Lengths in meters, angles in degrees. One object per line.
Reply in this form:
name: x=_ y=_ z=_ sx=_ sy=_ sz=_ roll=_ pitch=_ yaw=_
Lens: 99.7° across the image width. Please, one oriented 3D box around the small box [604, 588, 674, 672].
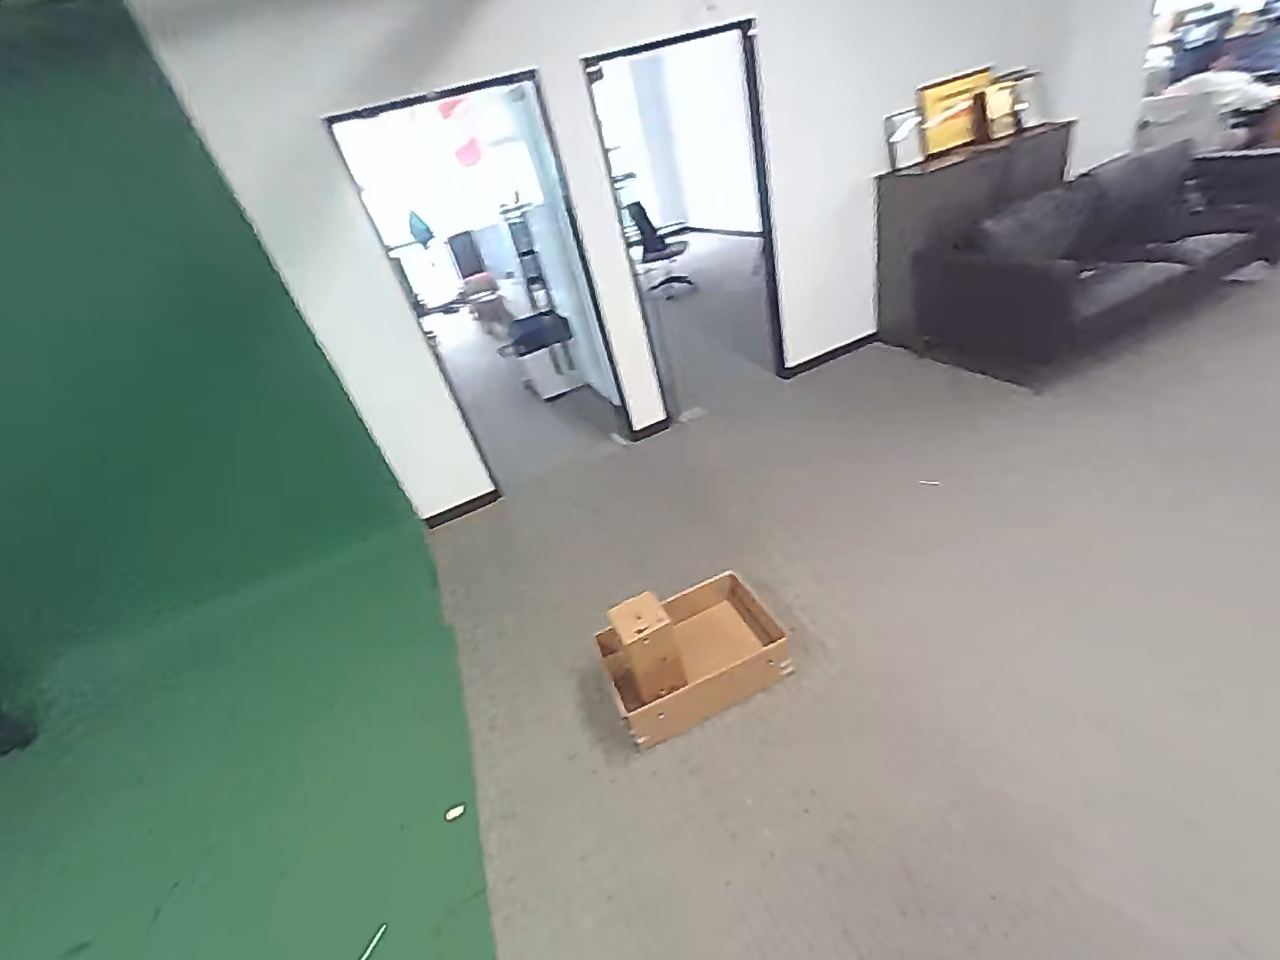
small box: x=-0.003 y=0.506 z=1.821 sx=0.168 sy=0.176 sz=0.179 roll=-25 pitch=33 yaw=-13
